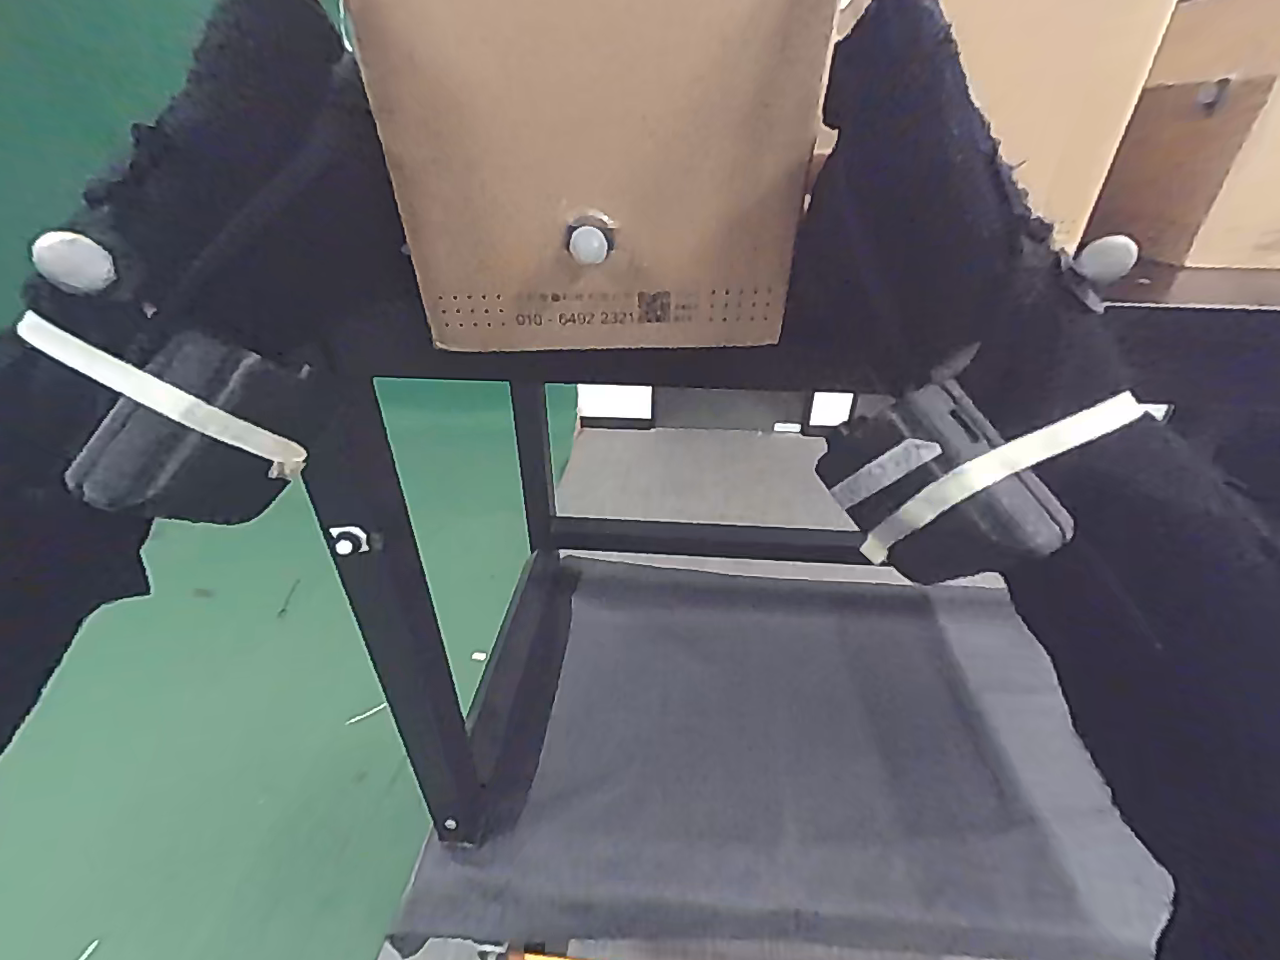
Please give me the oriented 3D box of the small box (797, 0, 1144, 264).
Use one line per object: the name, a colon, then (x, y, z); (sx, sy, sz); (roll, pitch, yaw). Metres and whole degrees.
small box: (0.223, -0.267, 0.415); (0.168, 0.176, 0.179); (4, 31, 6)
